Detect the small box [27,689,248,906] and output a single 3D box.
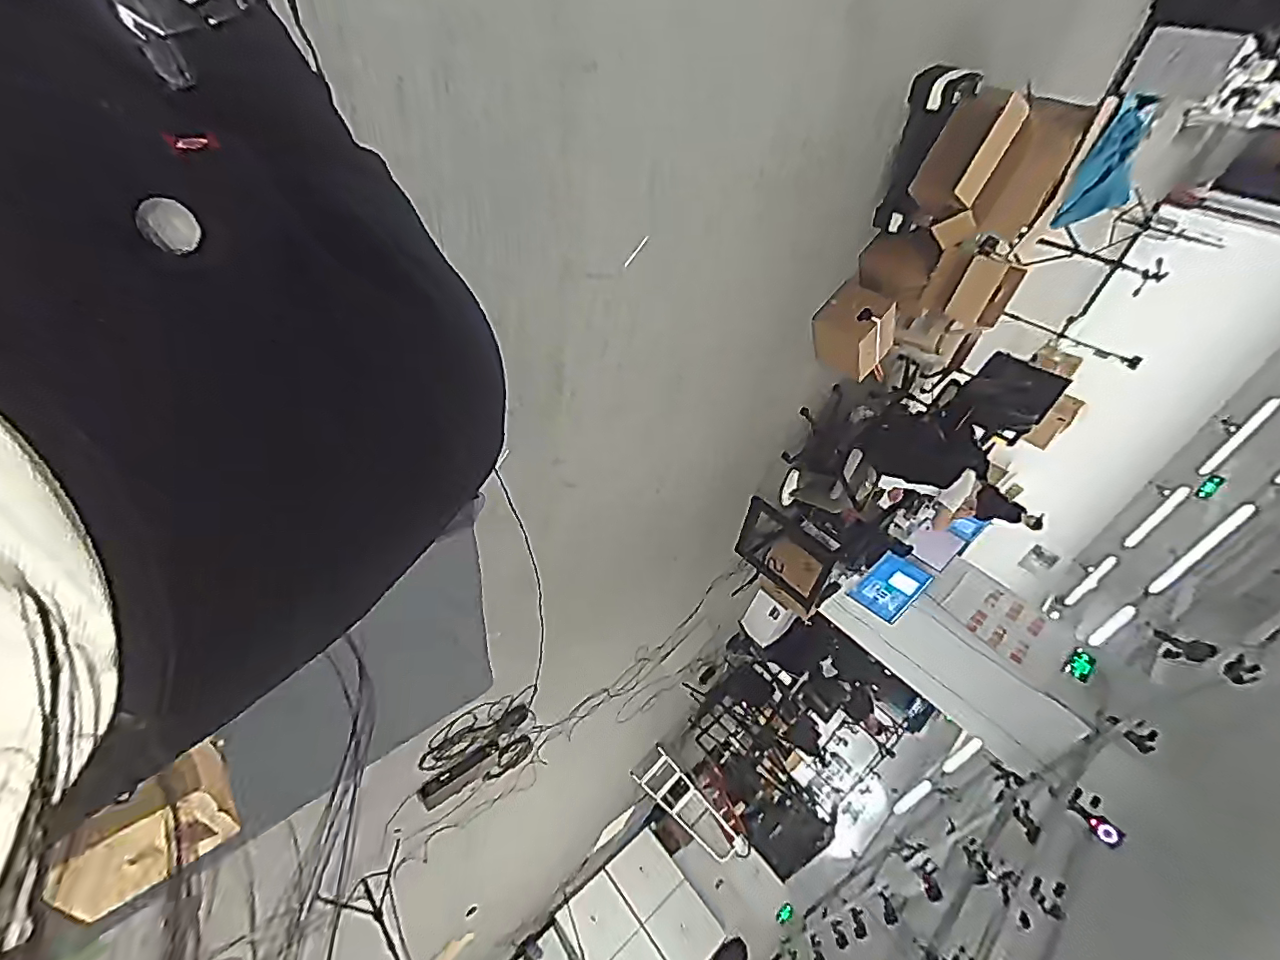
[{"bbox_3d":[-0.699,0.435,0.761,0.179,0.176,0.168,-25,141,-35],"label":"small box"}]
